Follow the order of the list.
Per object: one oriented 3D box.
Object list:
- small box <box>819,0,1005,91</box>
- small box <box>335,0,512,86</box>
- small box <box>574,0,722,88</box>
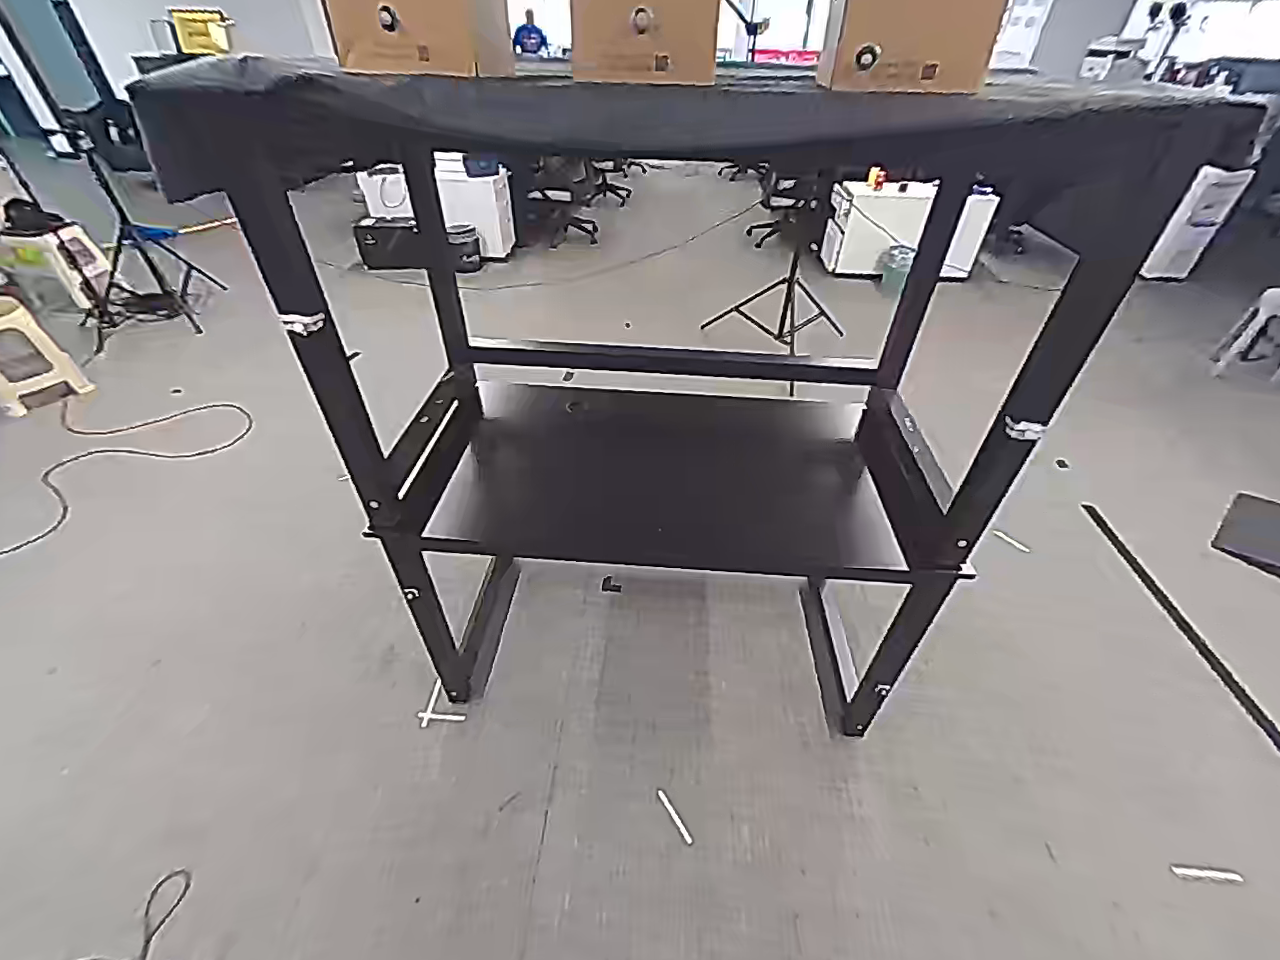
[{"bbox_3d":[0.313,-0.558,0.626,0.168,0.176,0.179,6,38,6],"label":"small box"},{"bbox_3d":[-0.257,-0.588,0.650,0.168,0.176,0.179,4,39,1],"label":"small box"},{"bbox_3d":[0.015,-0.574,0.637,0.168,0.176,0.179,4,38,4],"label":"small box"}]
